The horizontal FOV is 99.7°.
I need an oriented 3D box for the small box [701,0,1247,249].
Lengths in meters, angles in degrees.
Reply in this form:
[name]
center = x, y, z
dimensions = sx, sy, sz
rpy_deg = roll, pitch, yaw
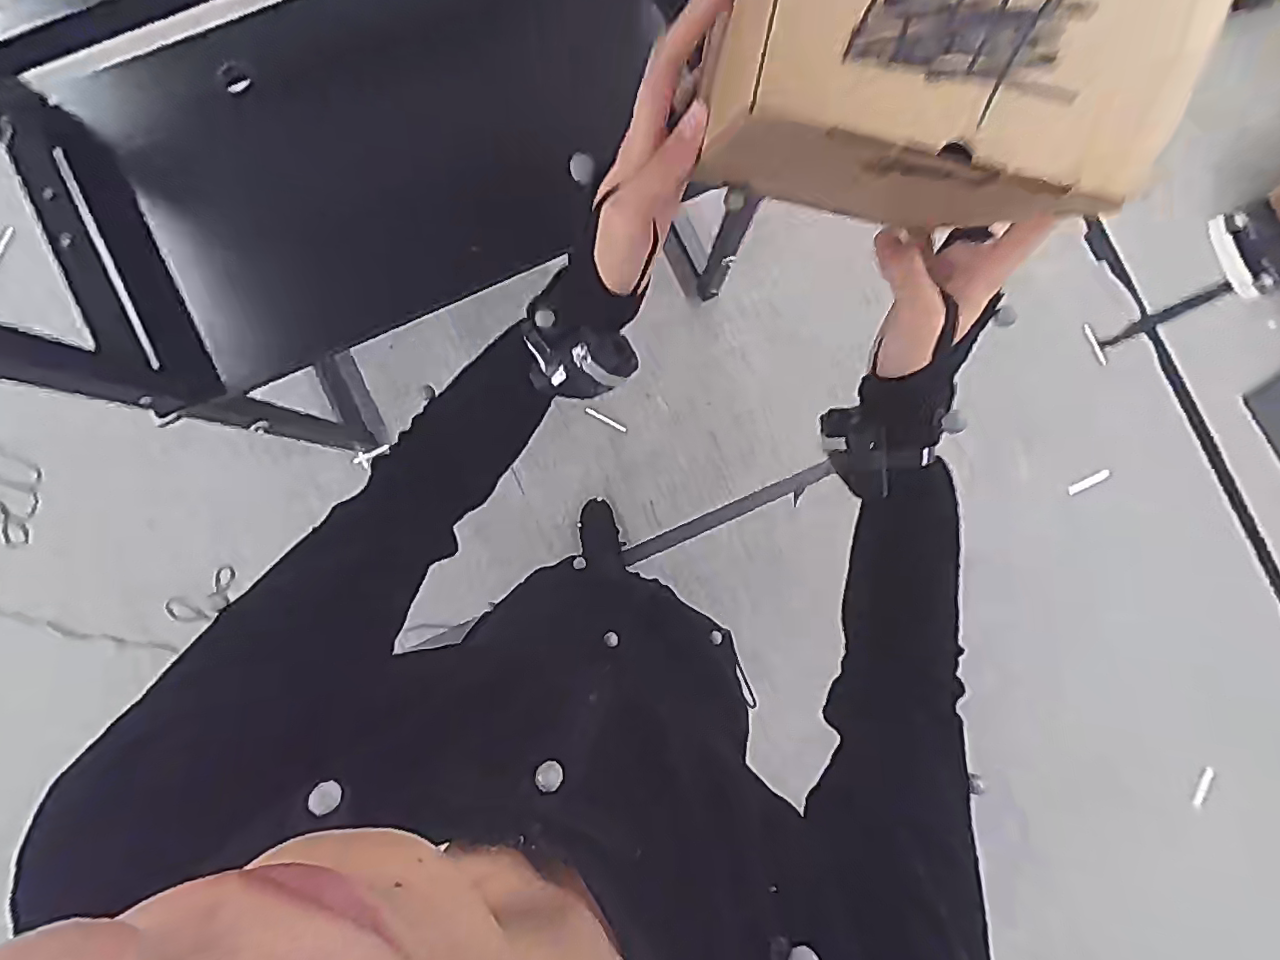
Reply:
[small box]
center = 0.135, -0.219, 0.260
dimensions = 0.168, 0.176, 0.179
rpy_deg = 9, 110, -9
